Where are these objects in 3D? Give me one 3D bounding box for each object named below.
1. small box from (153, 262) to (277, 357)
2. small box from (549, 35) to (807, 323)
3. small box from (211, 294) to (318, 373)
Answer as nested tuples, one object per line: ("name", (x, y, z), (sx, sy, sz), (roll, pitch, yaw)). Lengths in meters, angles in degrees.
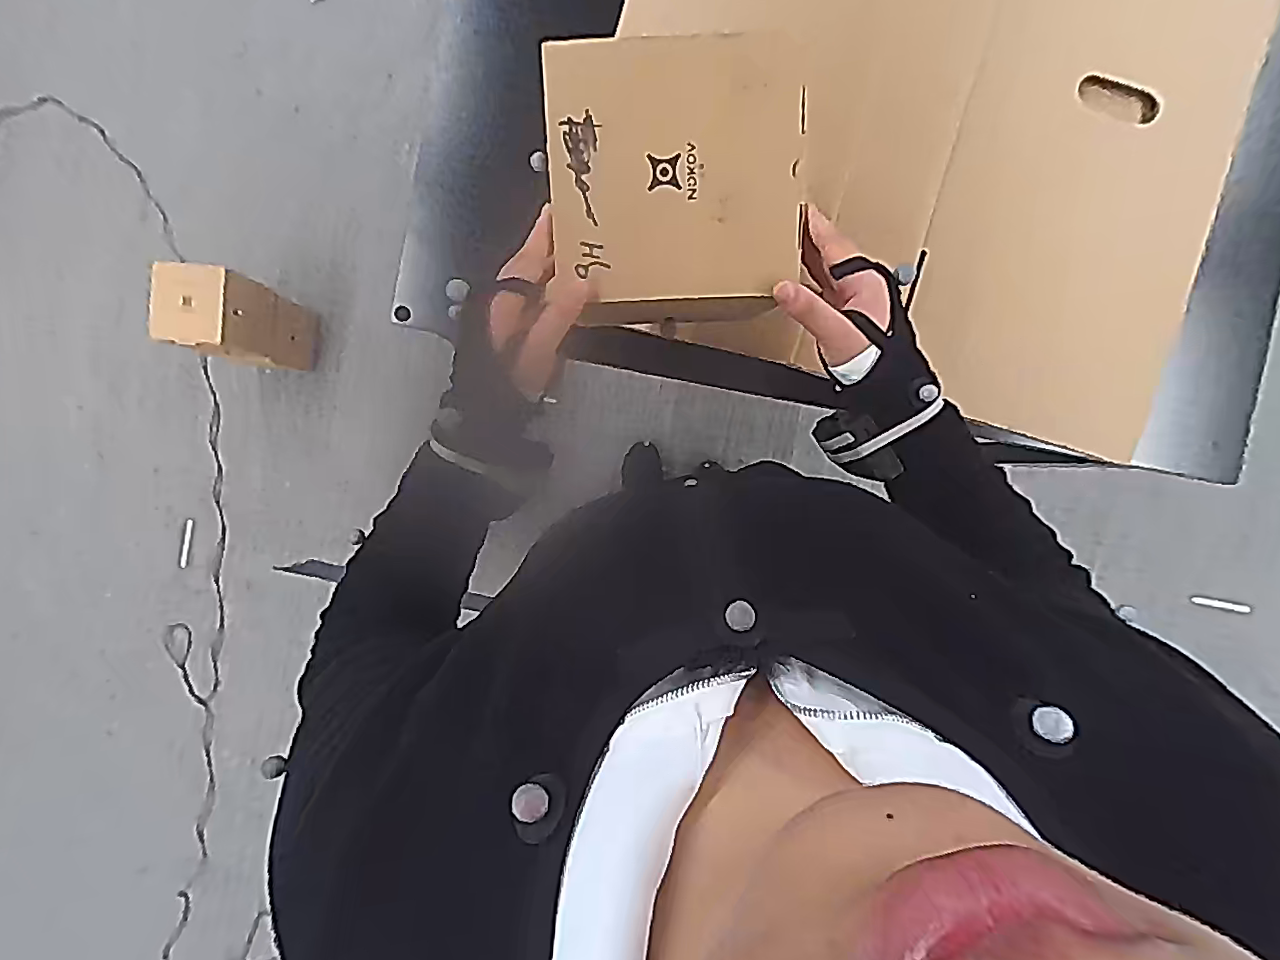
("small box", (-0.999, -0.396, 1.283), (0.168, 0.176, 0.179), (4, 91, 1))
("small box", (0.024, -0.226, 0.450), (0.179, 0.176, 0.168), (-3, 99, -2))
("small box", (-0.994, -0.394, 1.446), (0.168, 0.176, 0.179), (7, 92, 2))
